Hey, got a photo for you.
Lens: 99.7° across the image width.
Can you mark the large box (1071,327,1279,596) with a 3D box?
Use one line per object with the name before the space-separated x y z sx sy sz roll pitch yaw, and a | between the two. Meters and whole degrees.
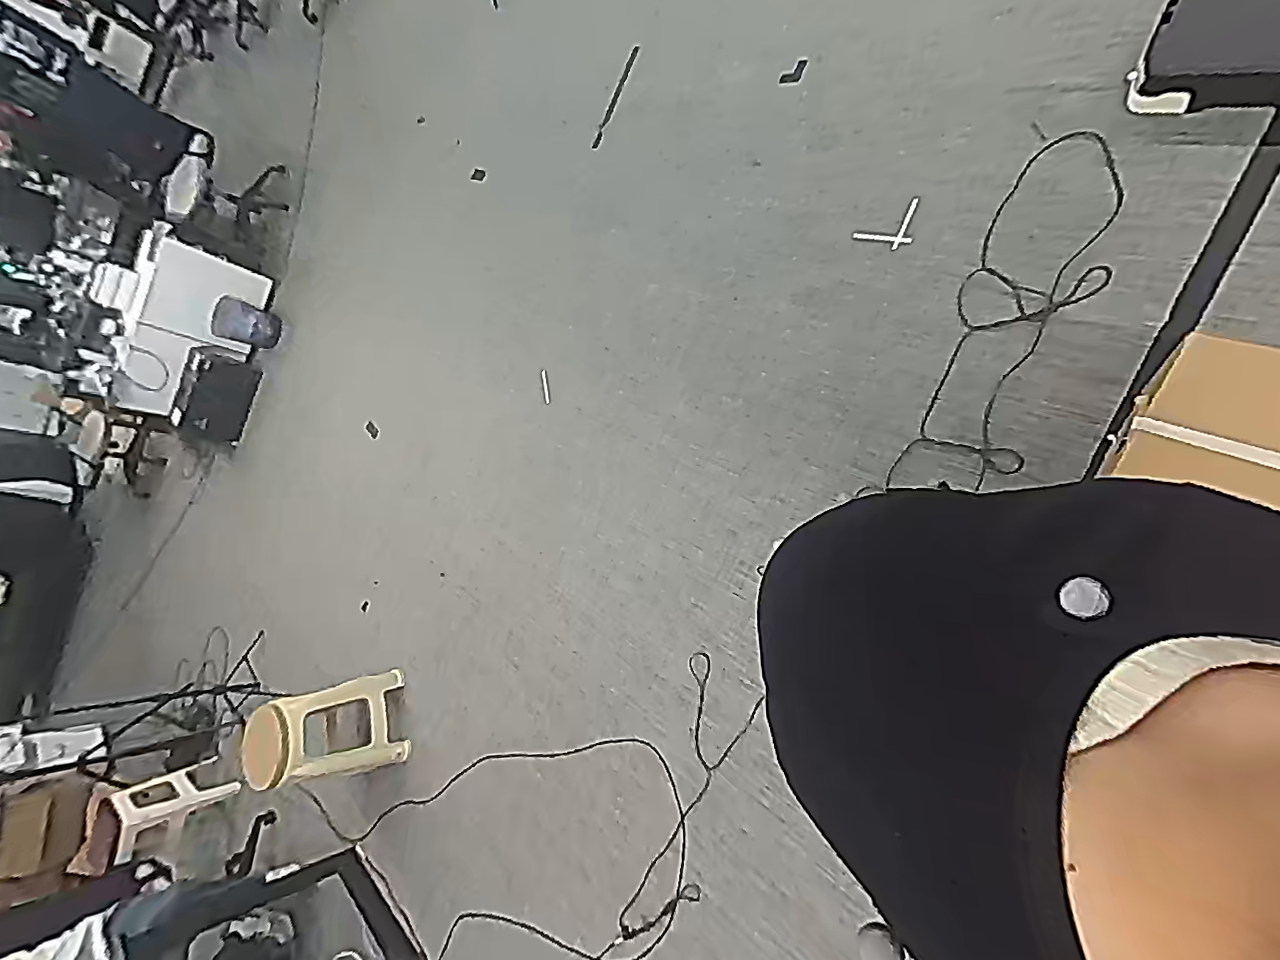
large box | 1.008 -0.003 0.863 0.408 0.320 0.320 29 98 33
